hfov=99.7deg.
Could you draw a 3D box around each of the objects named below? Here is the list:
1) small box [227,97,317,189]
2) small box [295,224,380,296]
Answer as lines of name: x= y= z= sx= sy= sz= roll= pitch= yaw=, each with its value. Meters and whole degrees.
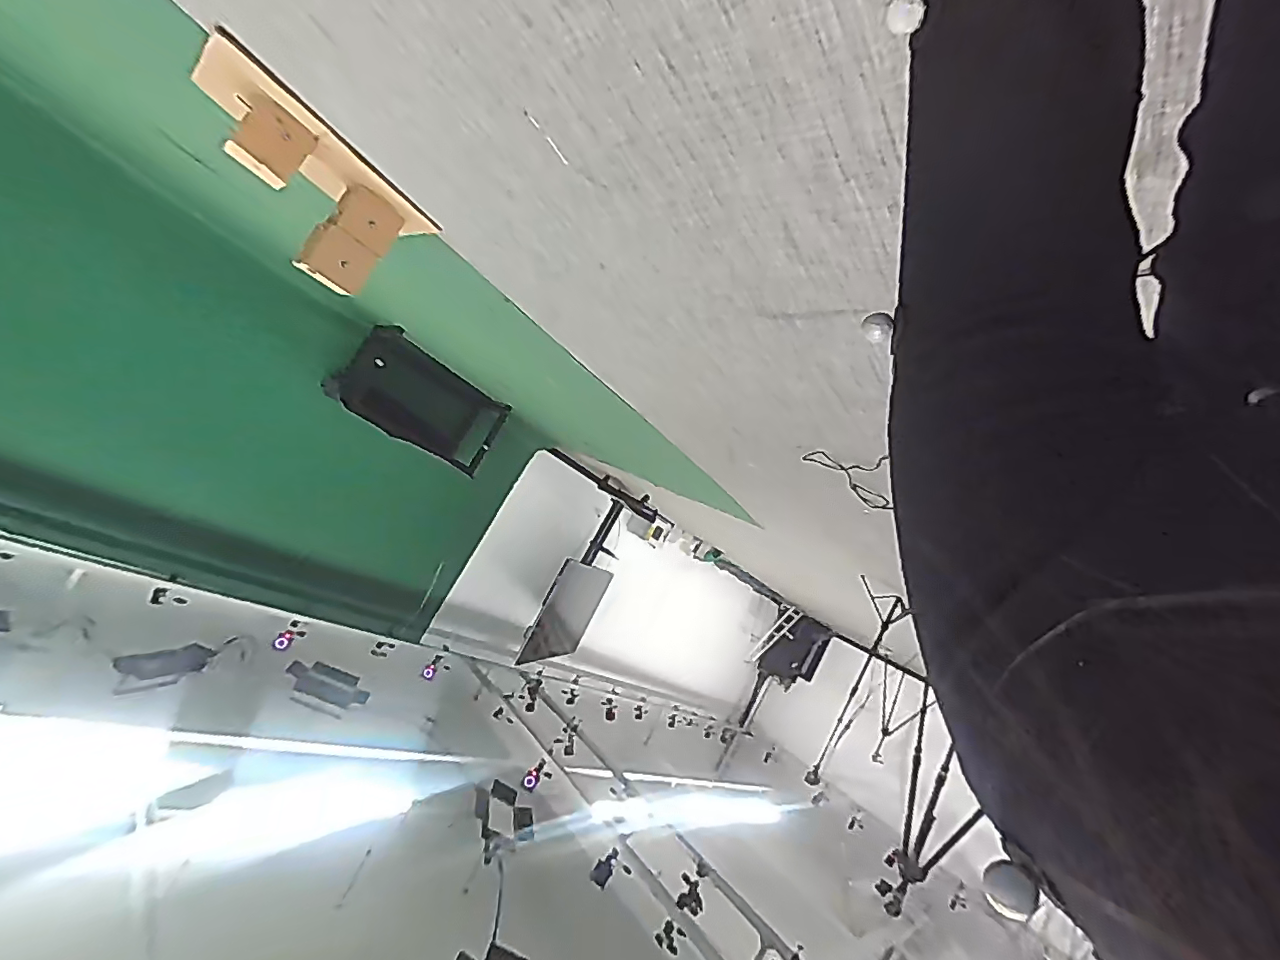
small box: x=-1.149 y=-1.051 z=1.693 sx=0.179 sy=0.176 sz=0.168 roll=22 pitch=169 yaw=45
small box: x=-1.059 y=-0.776 z=1.897 sx=0.168 sy=0.176 sz=0.179 roll=23 pitch=173 yaw=41
